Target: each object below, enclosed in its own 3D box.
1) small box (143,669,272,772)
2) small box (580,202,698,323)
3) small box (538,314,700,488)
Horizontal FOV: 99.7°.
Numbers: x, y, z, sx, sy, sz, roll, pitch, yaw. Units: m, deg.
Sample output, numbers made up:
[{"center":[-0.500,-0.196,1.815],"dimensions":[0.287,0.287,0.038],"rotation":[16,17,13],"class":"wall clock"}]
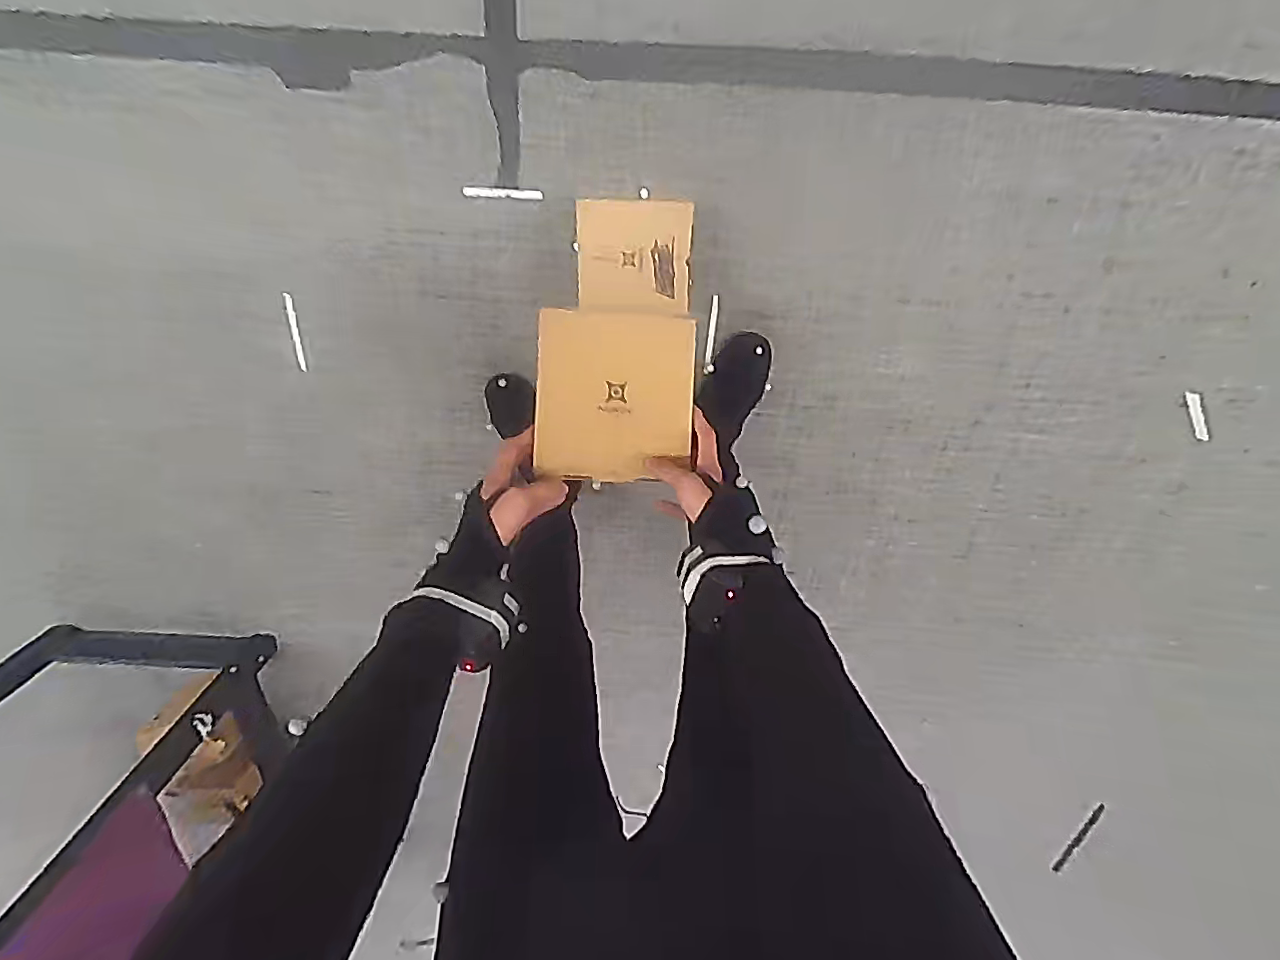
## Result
[{"center":[-1.160,0.648,1.466],"dimensions":[0.179,0.176,0.168],"rotation":[-22,116,13],"class":"small box"},{"center":[-0.002,-0.364,0.895],"dimensions":[0.179,0.176,0.168],"rotation":[2,118,1],"class":"small box"},{"center":[-0.029,-0.083,0.646],"dimensions":[0.168,0.176,0.179],"rotation":[2,91,-5],"class":"small box"}]
